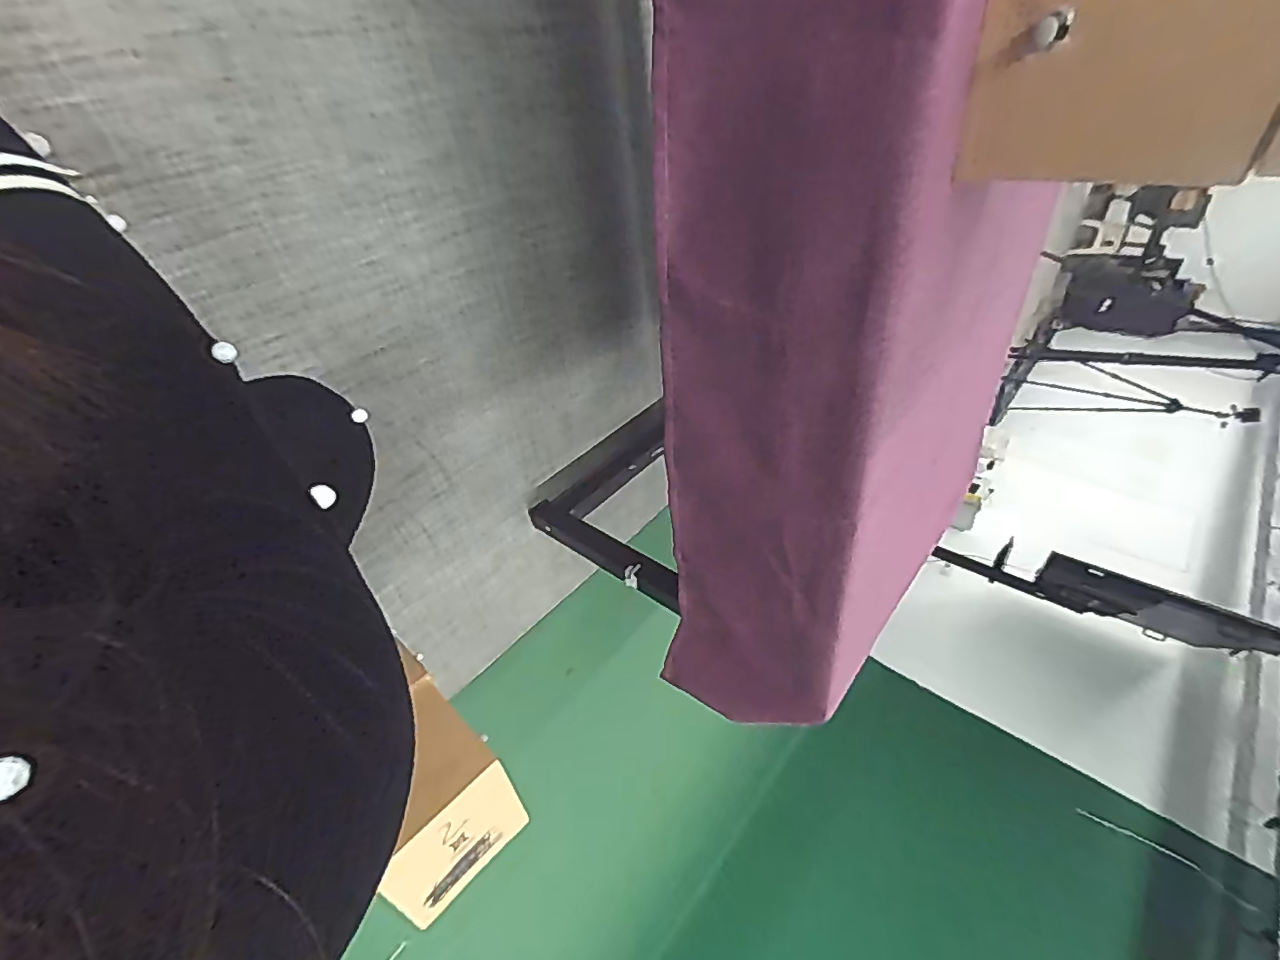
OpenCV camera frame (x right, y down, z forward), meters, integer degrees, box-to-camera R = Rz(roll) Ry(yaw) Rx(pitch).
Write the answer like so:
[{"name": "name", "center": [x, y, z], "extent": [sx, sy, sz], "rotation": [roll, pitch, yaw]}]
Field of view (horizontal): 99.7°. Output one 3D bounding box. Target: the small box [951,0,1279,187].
[{"name": "small box", "center": [0.337, -0.319, 0.364], "extent": [0.168, 0.176, 0.179], "rotation": [-41, 140, -31]}]
